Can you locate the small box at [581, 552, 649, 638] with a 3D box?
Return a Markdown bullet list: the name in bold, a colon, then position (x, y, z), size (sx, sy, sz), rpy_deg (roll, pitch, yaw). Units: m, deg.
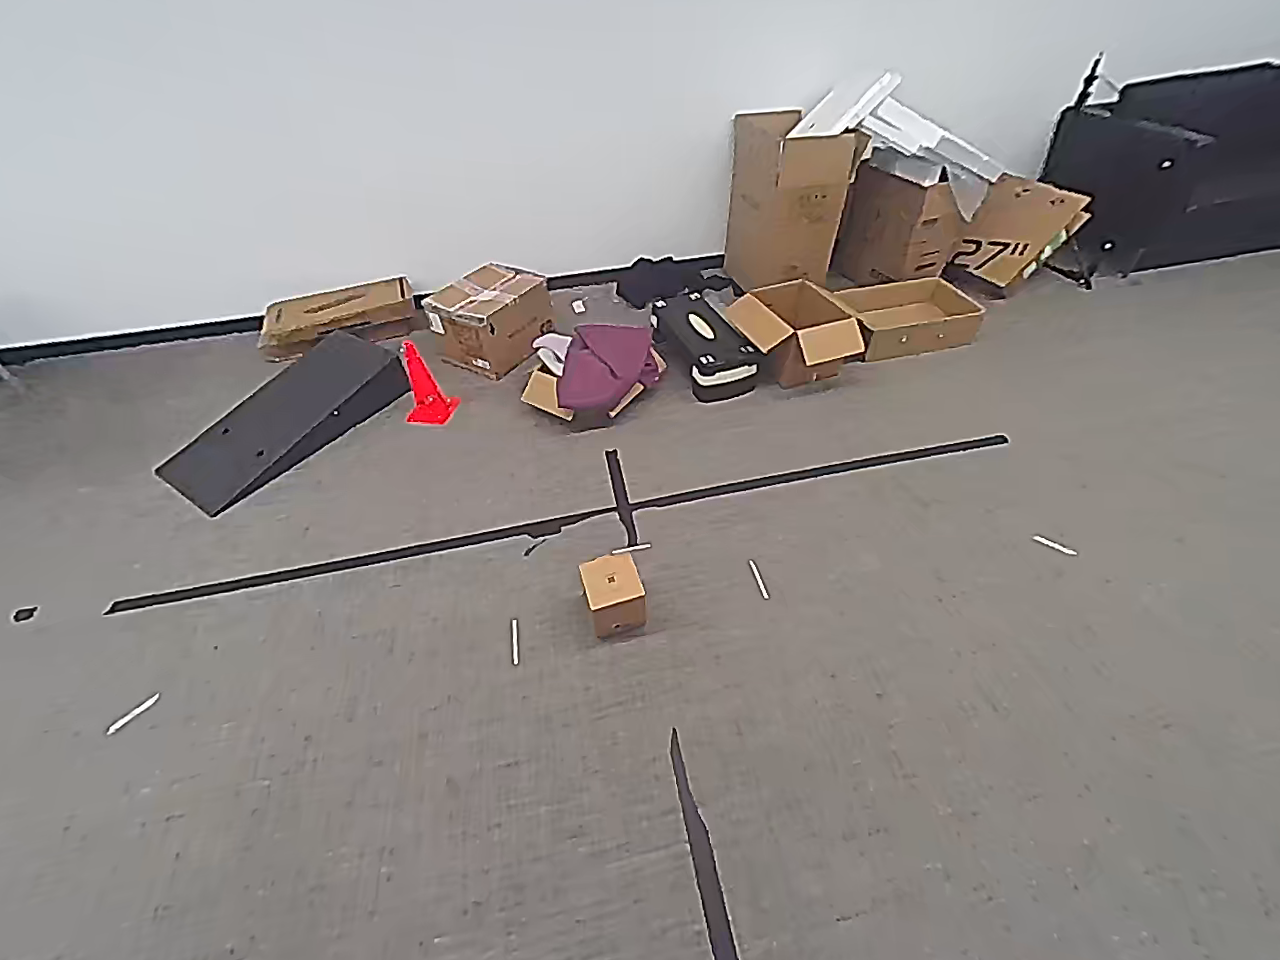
- **small box**: position (-0.076, 0.354, 1.666), size (0.168, 0.176, 0.179), rpy_deg (-15, 47, -10)
